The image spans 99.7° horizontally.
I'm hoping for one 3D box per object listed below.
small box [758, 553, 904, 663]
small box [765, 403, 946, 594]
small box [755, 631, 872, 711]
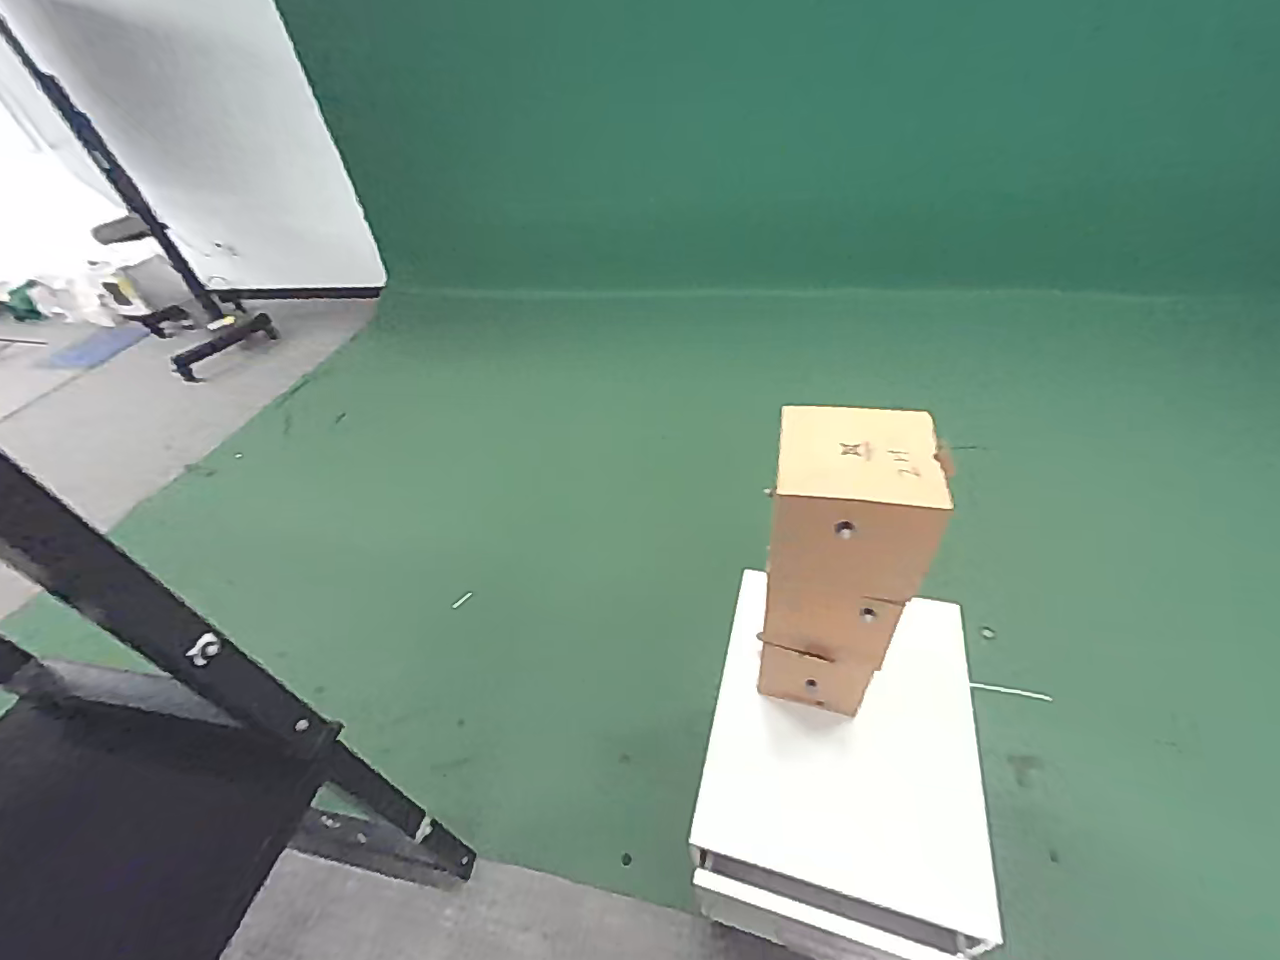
[{"bbox_3d":[0.273,0.139,0.785,0.179,0.176,0.168,11,46,18],"label":"small box"},{"bbox_3d":[0.250,0.022,0.671,0.179,0.176,0.168,5,45,13],"label":"small box"},{"bbox_3d":[0.287,0.255,0.898,0.168,0.176,0.179,9,46,16],"label":"small box"}]
